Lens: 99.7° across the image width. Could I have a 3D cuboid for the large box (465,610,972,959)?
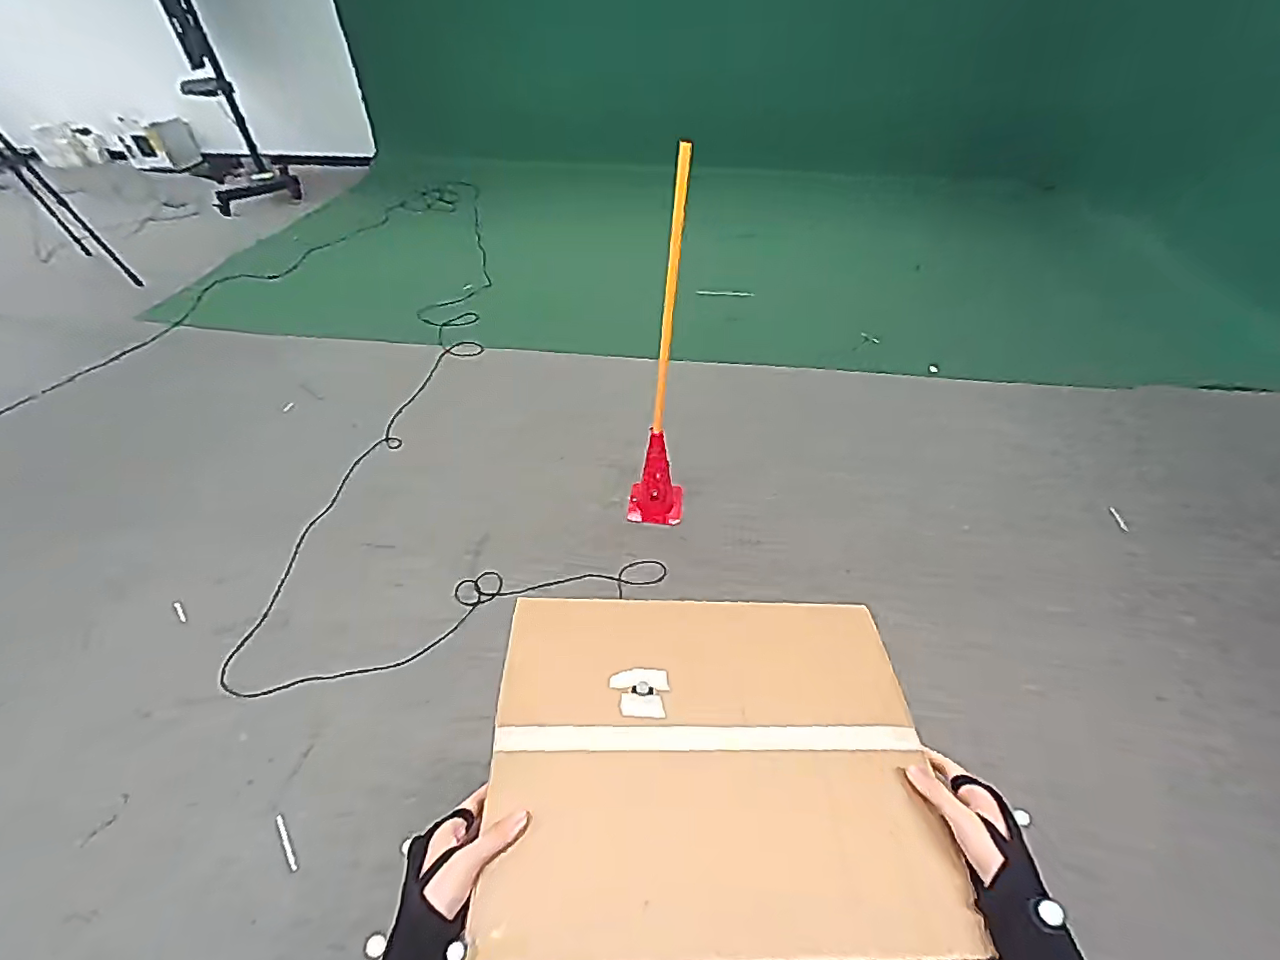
[{"bbox_3d":[0.055,0.366,0.621,0.408,0.320,0.320,1,43,-3],"label":"large box"}]
